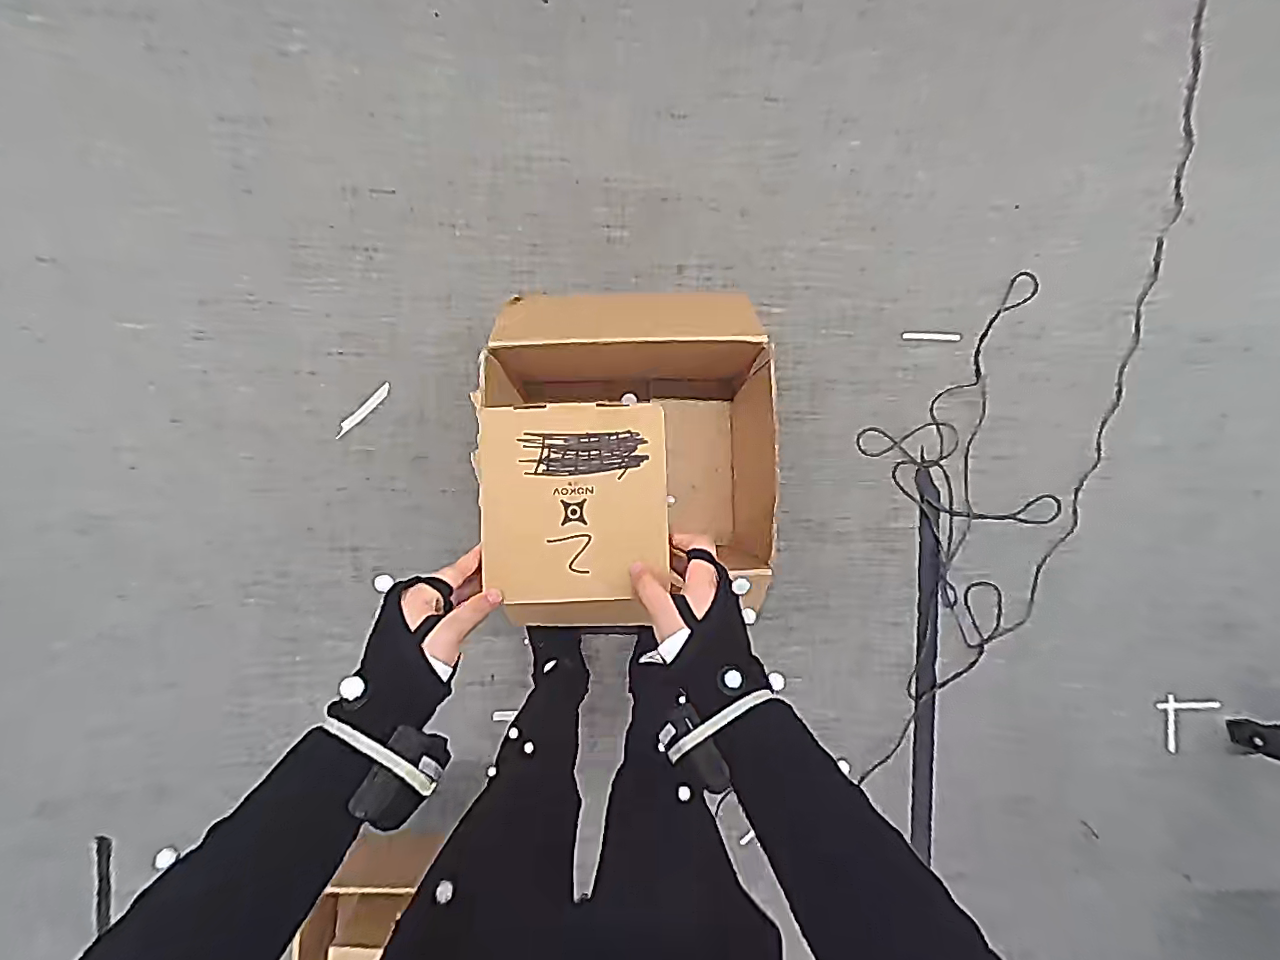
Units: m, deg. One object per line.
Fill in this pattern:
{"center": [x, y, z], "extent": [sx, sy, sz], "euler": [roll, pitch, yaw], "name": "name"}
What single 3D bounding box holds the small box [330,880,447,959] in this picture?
{"center": [-0.501, 0.947, 1.090], "extent": [0.179, 0.176, 0.168], "euler": [5, 90, -4], "name": "small box"}
